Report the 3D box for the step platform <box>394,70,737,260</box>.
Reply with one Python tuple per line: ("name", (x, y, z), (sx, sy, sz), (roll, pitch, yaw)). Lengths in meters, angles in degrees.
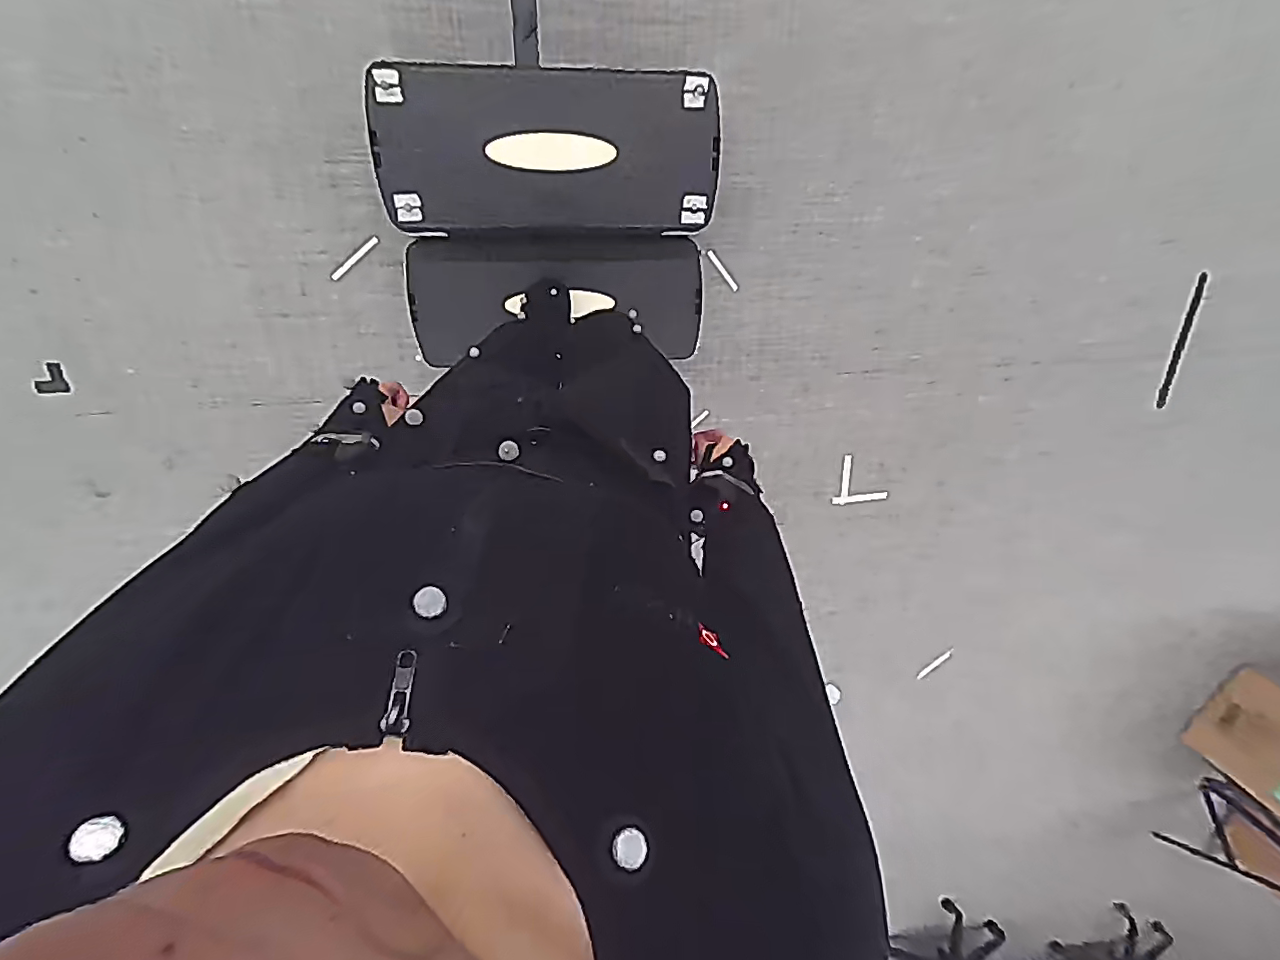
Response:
("step platform", (-0.144, -0.640, 1.138), (0.684, 0.204, 0.286), (0, 111, -9))
